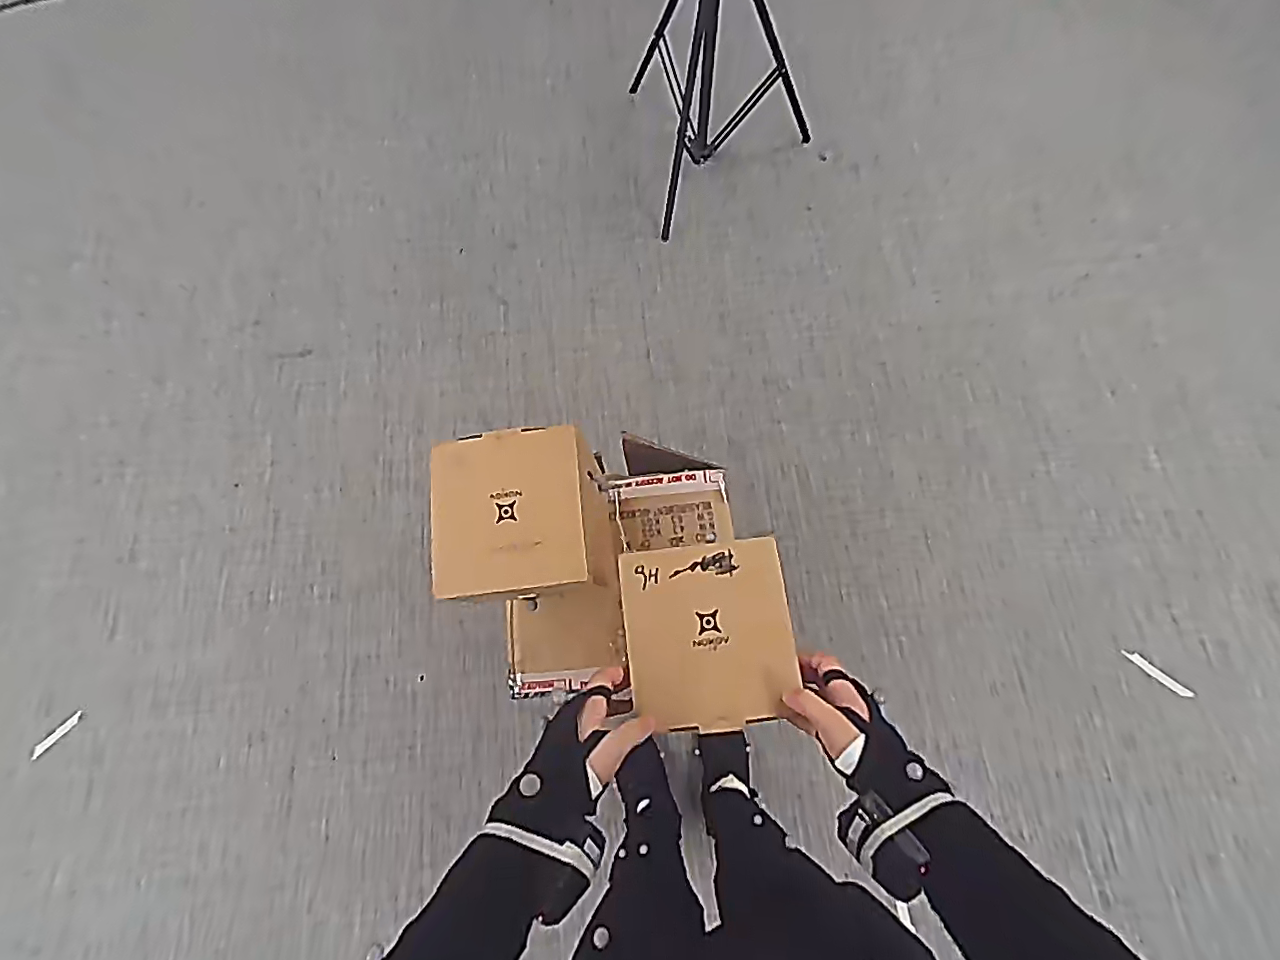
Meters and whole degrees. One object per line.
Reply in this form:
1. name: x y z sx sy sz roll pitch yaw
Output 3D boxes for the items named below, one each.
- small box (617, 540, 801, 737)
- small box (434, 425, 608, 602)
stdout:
1. small box: 0.068 0.173 0.612 0.168 0.176 0.179 -7 75 -1
2. small box: -0.136 0.050 0.658 0.168 0.176 0.179 -8 76 2
